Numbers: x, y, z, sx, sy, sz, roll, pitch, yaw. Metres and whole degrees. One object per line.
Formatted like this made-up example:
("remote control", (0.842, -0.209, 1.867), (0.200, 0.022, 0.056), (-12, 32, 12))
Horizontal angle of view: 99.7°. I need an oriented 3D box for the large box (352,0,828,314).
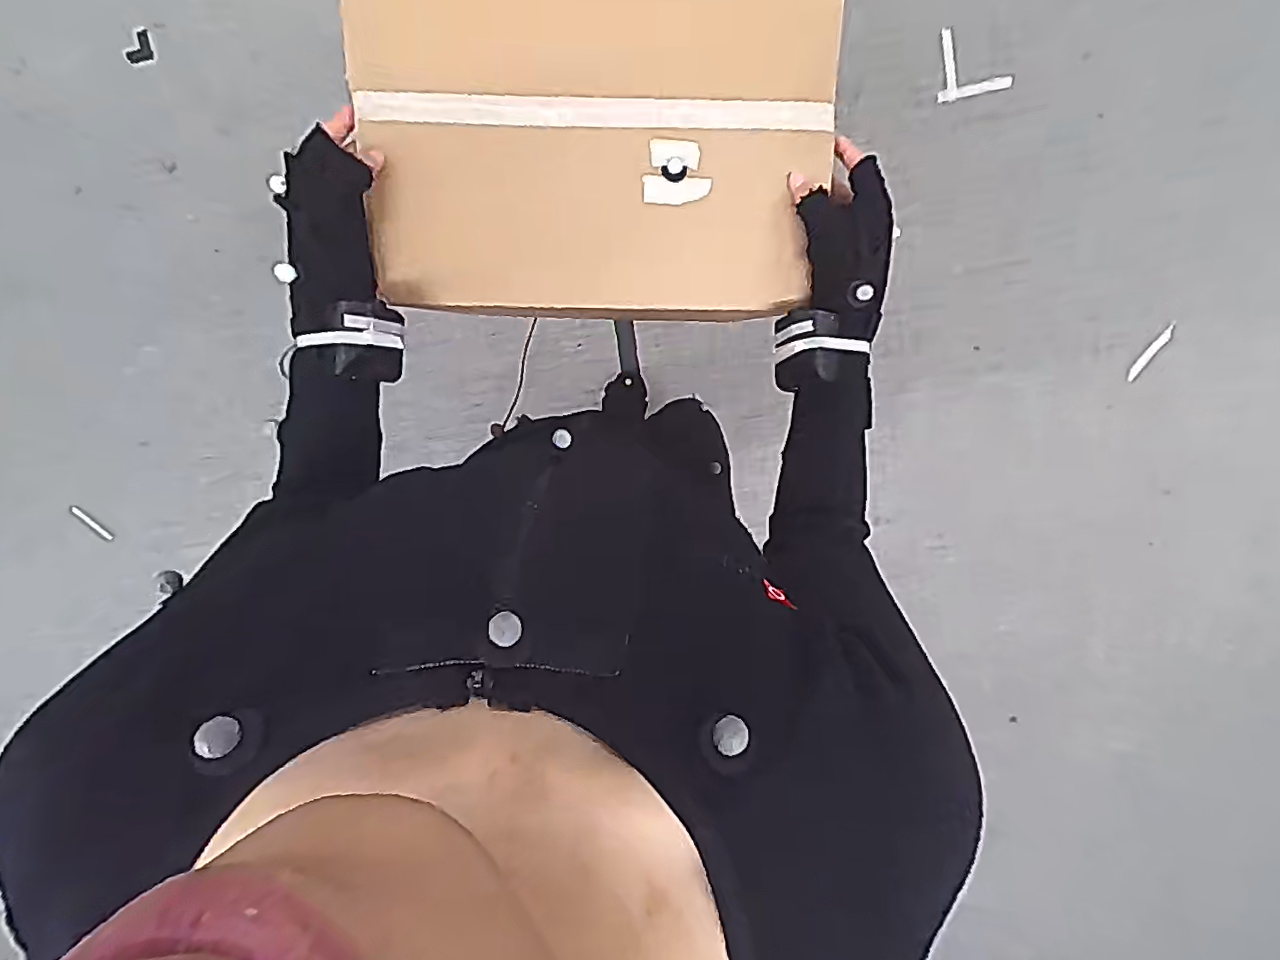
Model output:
("large box", (-0.045, -0.359, 0.613), (0.408, 0.320, 0.320), (0, 105, -2))
